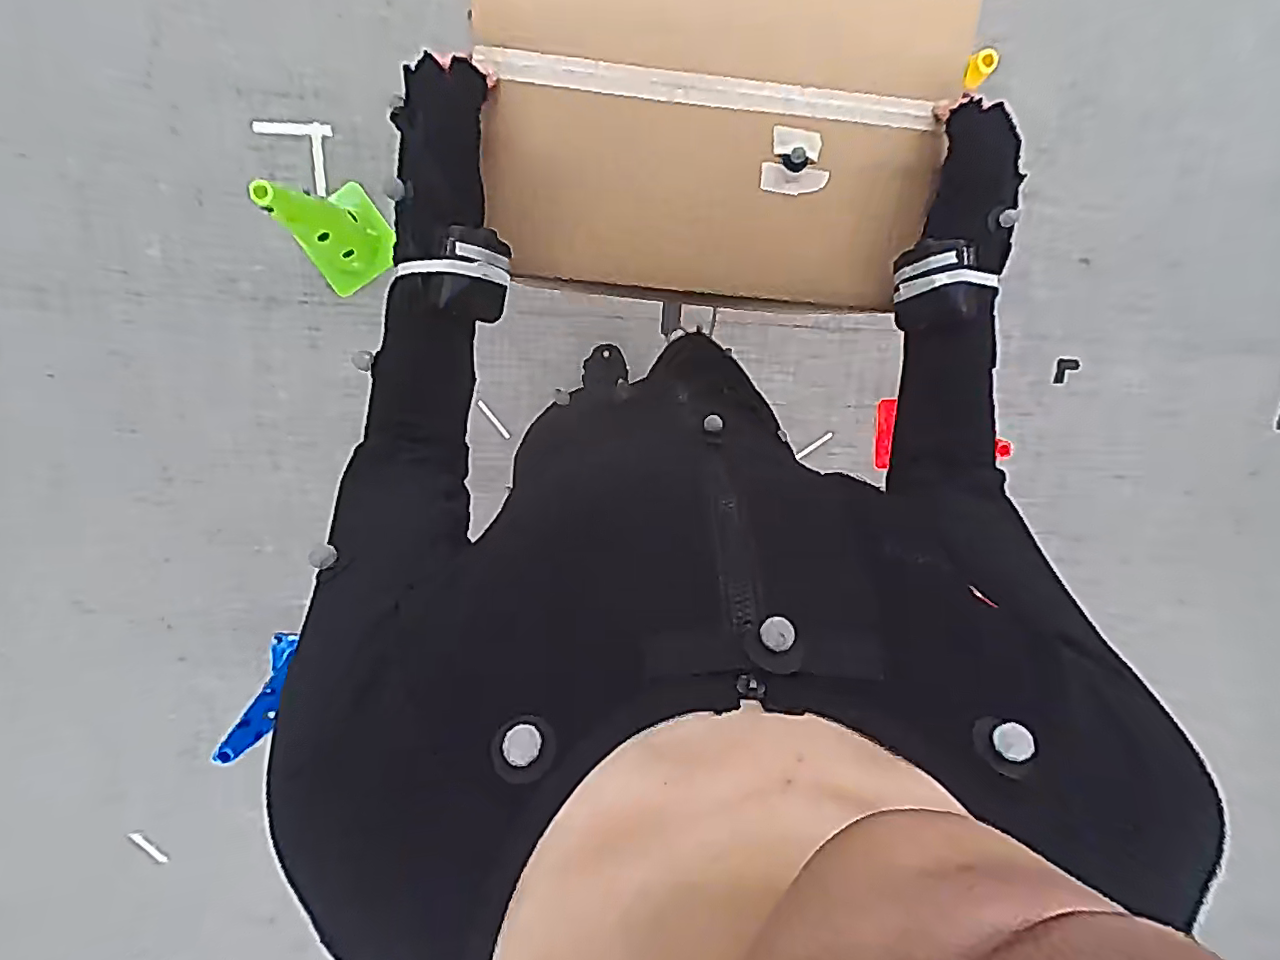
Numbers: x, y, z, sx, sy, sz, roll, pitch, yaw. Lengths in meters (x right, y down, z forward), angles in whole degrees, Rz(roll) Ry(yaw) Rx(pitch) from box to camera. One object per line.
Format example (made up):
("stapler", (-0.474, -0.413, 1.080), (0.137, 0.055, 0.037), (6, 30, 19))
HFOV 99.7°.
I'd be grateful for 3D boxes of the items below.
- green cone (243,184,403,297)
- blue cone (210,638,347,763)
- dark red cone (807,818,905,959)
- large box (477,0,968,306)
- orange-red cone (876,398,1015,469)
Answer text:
("green cone", (-0.690, -0.541, 1.129), (0.202, 0.368, 0.200), (-35, 101, 4))
("blue cone", (-0.896, 0.554, 1.330), (0.192, 0.380, 0.193), (5, 100, -4))
("dark red cone", (0.640, 1.178, 1.531), (0.201, 0.394, 0.202), (8, 99, -5))
("large box", (0.055, -0.370, 0.592), (0.408, 0.320, 0.320), (4, 107, -5))
("orange-red cone", (0.769, -0.101, 1.332), (0.198, 0.360, 0.199), (-1, 99, -6))
